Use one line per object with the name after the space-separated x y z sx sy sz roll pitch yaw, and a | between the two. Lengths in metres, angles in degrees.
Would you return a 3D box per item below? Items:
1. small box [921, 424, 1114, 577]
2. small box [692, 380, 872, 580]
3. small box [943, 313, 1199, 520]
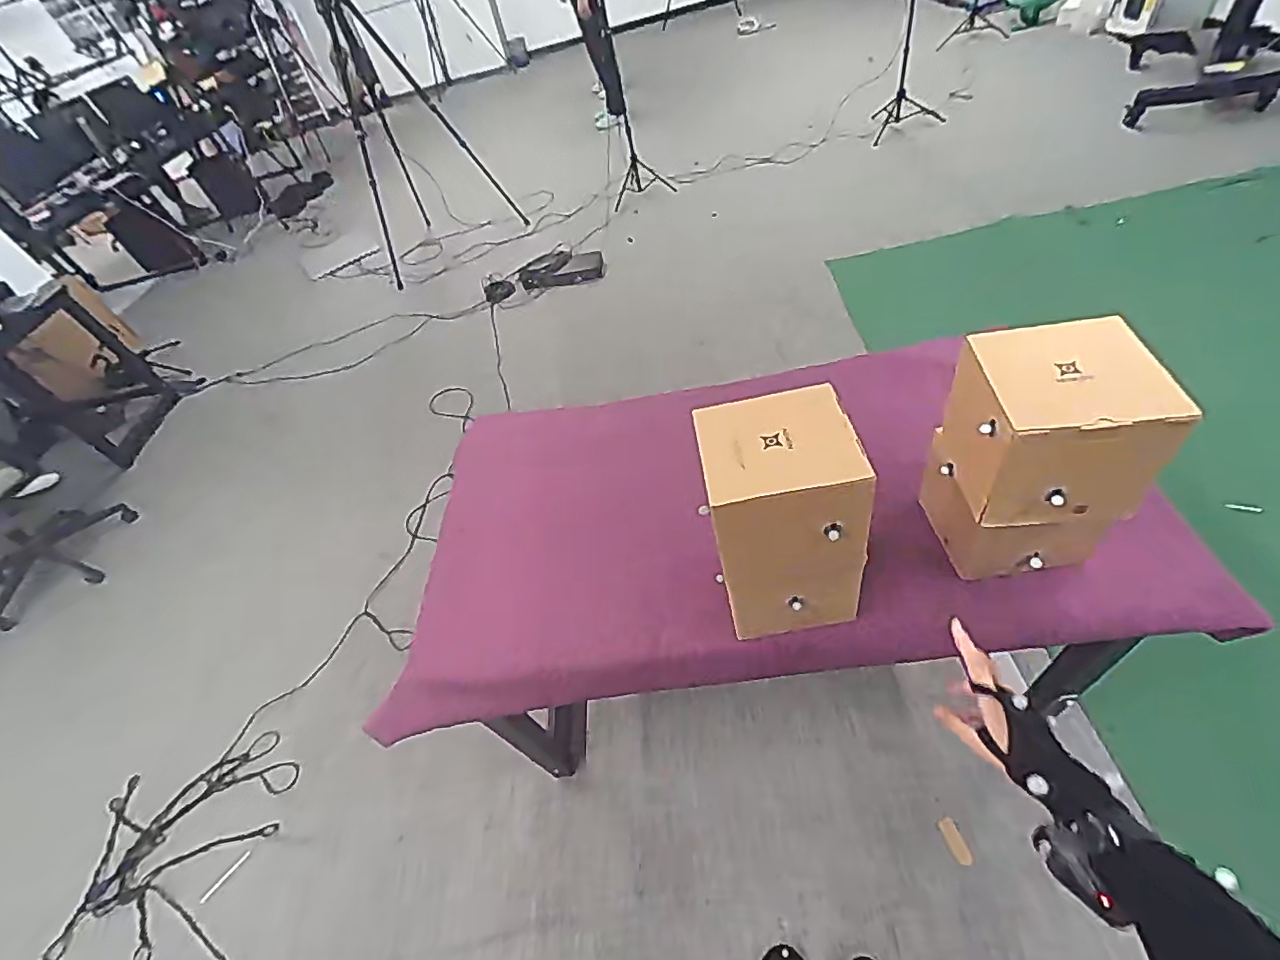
0.535 0.019 0.781 0.179 0.176 0.168 -11 45 8 | small box
0.169 0.005 0.676 0.179 0.176 0.168 -11 45 8 | small box
0.486 -0.072 0.652 0.168 0.176 0.179 -5 48 13 | small box
